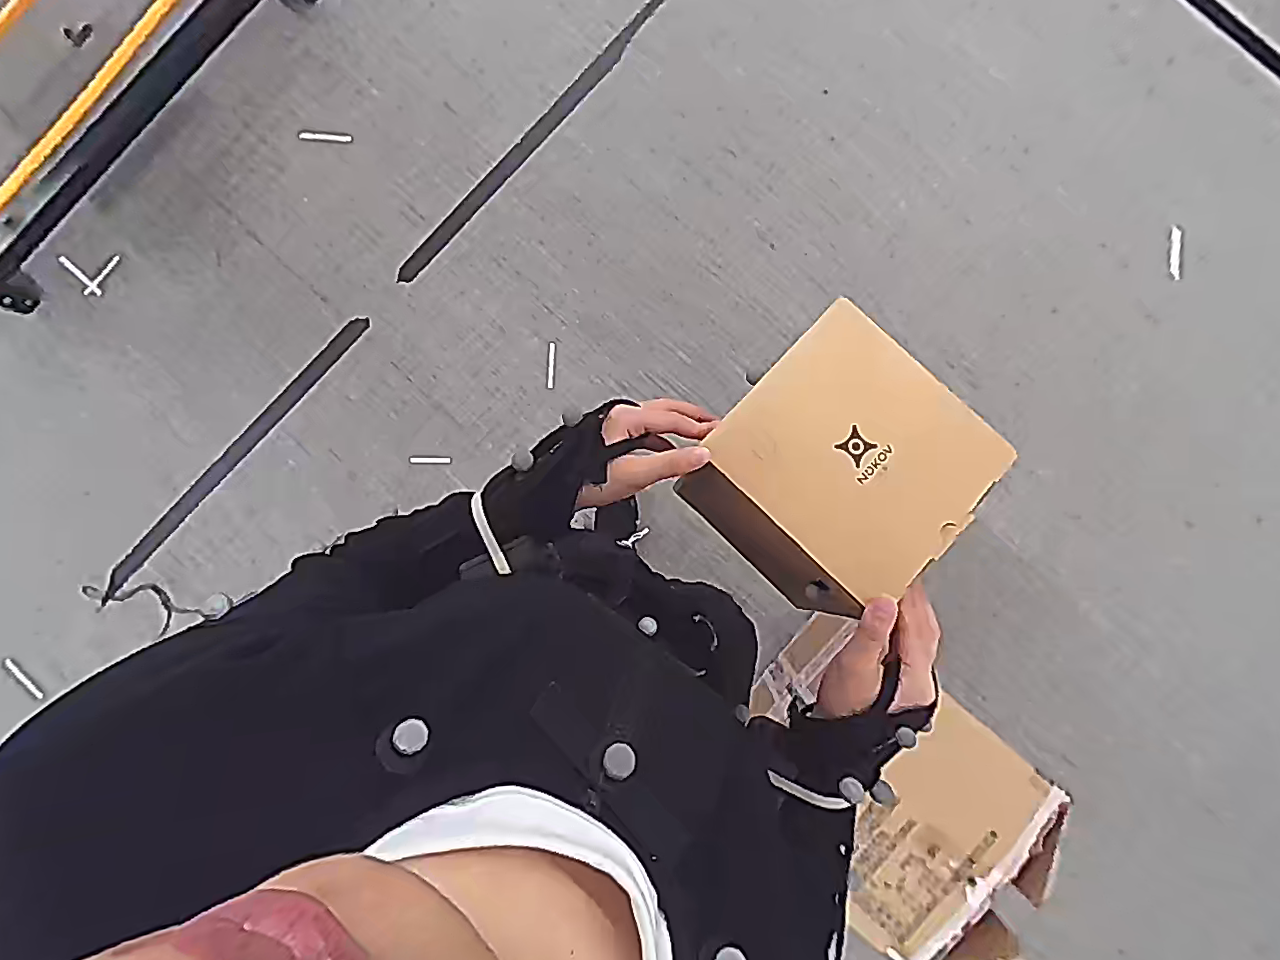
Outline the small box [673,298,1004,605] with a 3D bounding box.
[{"bbox_3d":[0.147,-0.012,0.470,0.179,0.176,0.168,43,81,4],"label":"small box"}]
